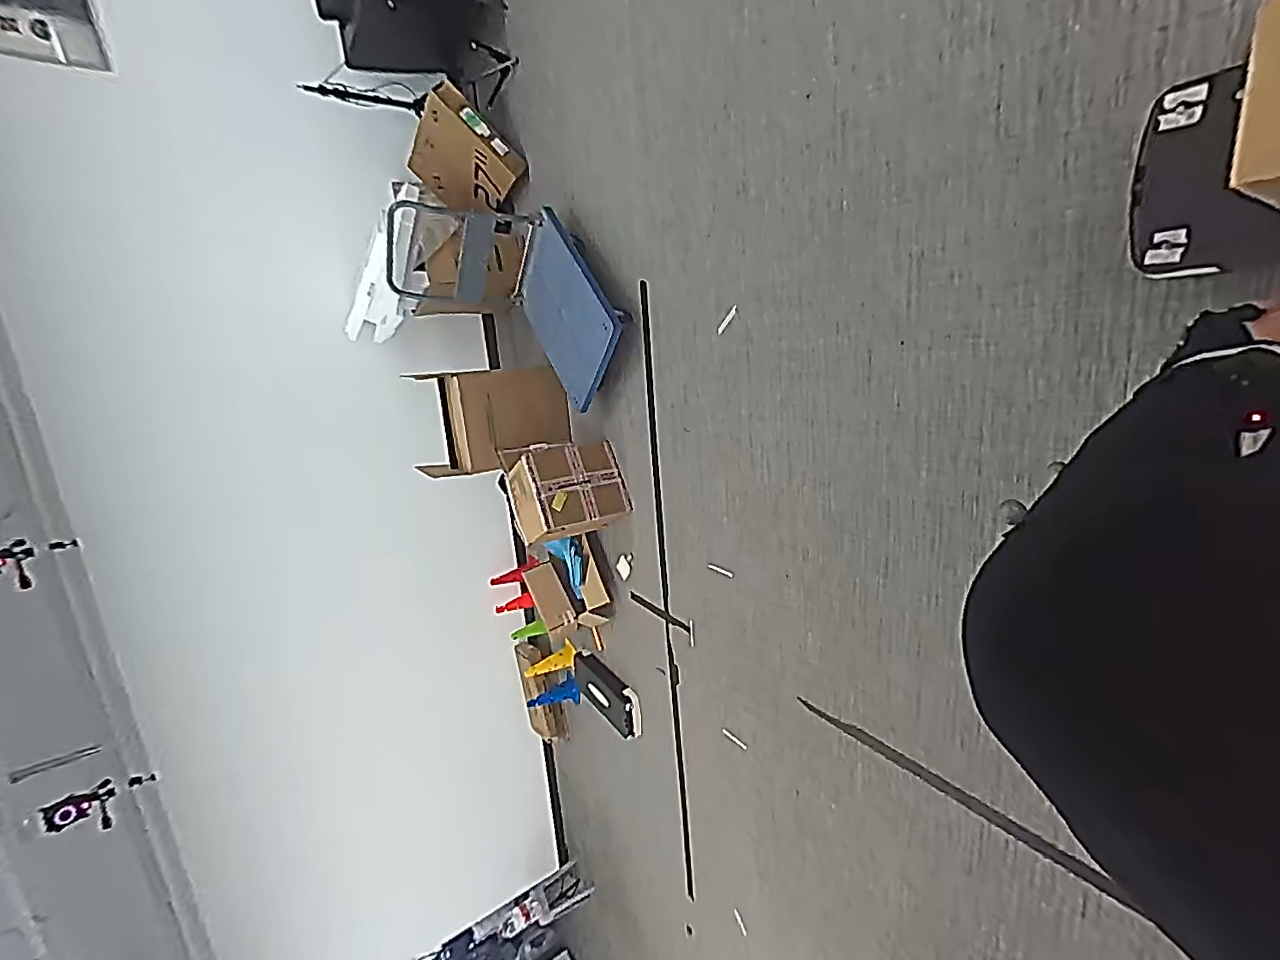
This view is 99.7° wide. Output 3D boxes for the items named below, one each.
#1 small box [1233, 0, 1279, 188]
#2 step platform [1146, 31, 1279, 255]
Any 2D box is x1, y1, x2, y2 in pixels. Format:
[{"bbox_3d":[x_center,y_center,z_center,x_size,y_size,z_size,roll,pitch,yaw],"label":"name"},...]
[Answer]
[{"bbox_3d":[0.745,-0.412,0.539,0.168,0.176,0.179,16,115,55],"label":"small box"},{"bbox_3d":[1.071,-0.479,0.643,0.684,0.204,0.286,15,113,56],"label":"step platform"}]
